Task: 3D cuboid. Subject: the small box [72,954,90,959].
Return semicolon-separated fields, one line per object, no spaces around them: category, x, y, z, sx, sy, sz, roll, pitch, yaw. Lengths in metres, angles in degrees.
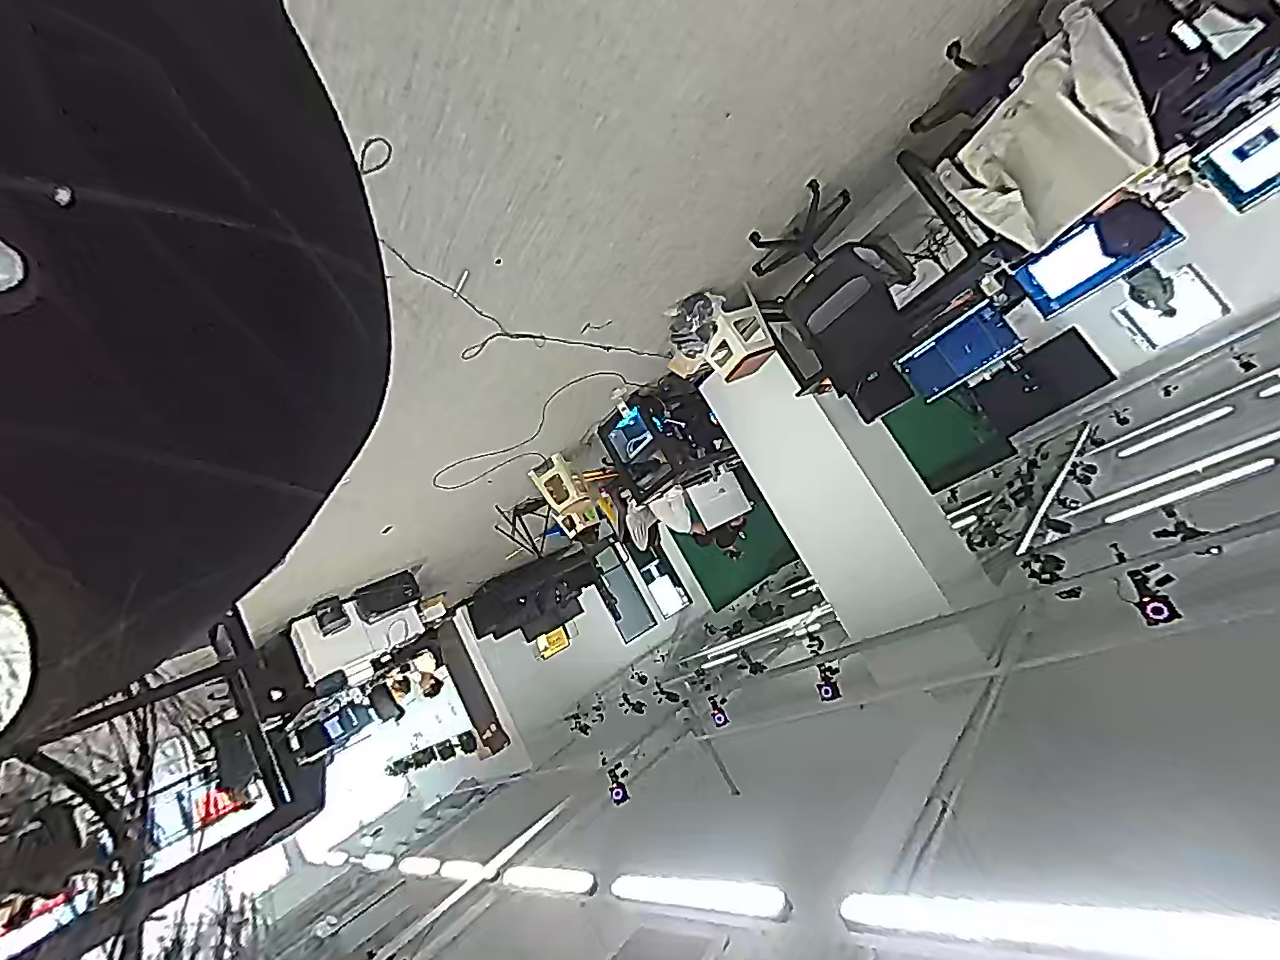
small box;-1.373;1.255;1.249;0.168;0.176;0.179;-18;167;-45
